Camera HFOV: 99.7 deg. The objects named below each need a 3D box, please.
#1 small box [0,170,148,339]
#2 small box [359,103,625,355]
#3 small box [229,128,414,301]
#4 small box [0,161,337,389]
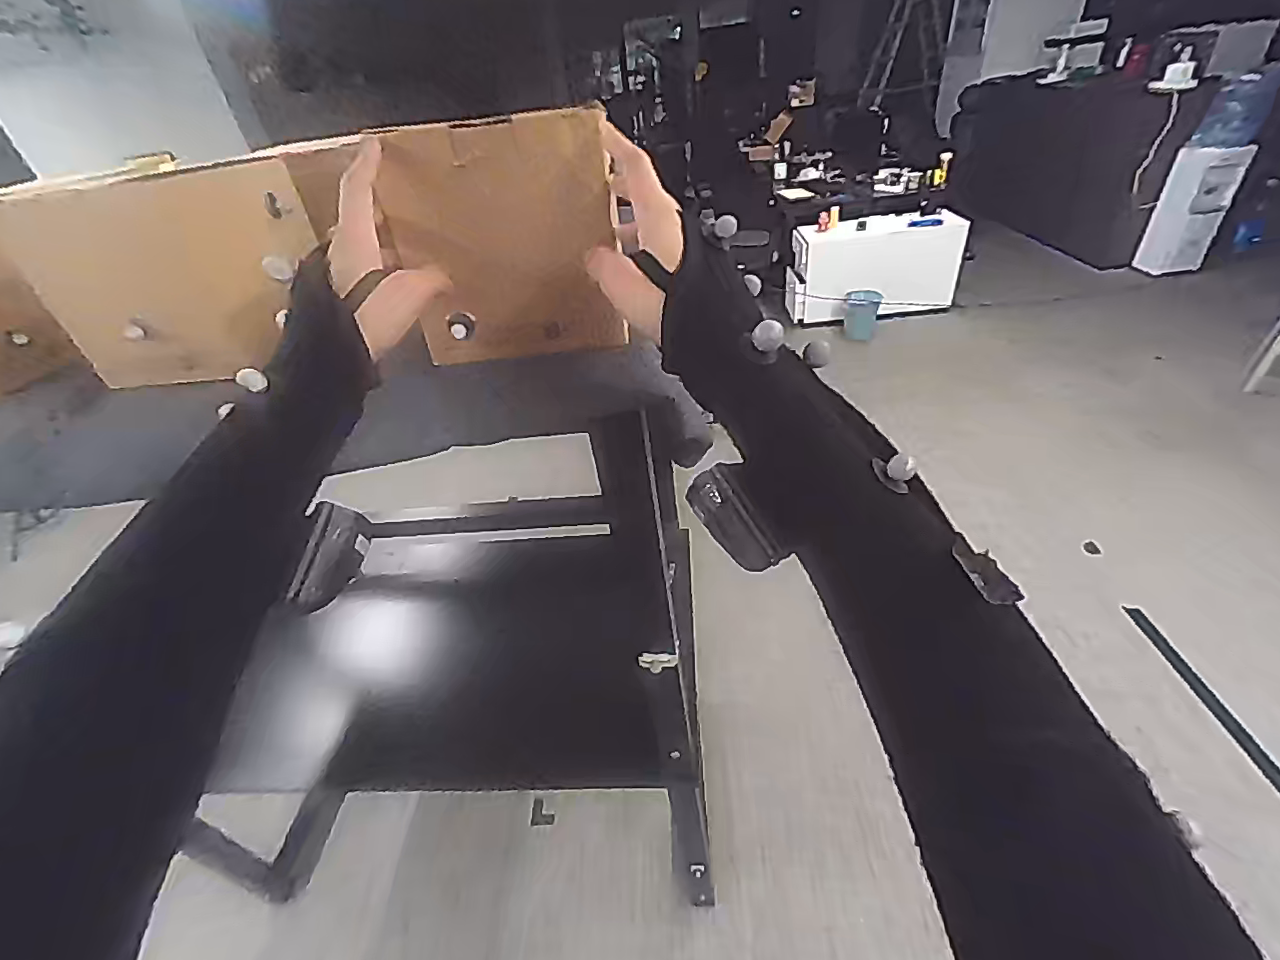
[{"bbox_3d":[-0.766,-0.311,0.750,0.179,0.176,0.168,-4,38,7],"label":"small box"},{"bbox_3d":[-0.105,-0.216,0.477,0.168,0.176,0.179,-6,32,2],"label":"small box"},{"bbox_3d":[-0.368,-0.342,0.708,0.168,0.176,0.179,-5,38,3],"label":"small box"},{"bbox_3d":[-0.442,-0.205,0.542,0.168,0.176,0.179,-3,36,9],"label":"small box"}]
